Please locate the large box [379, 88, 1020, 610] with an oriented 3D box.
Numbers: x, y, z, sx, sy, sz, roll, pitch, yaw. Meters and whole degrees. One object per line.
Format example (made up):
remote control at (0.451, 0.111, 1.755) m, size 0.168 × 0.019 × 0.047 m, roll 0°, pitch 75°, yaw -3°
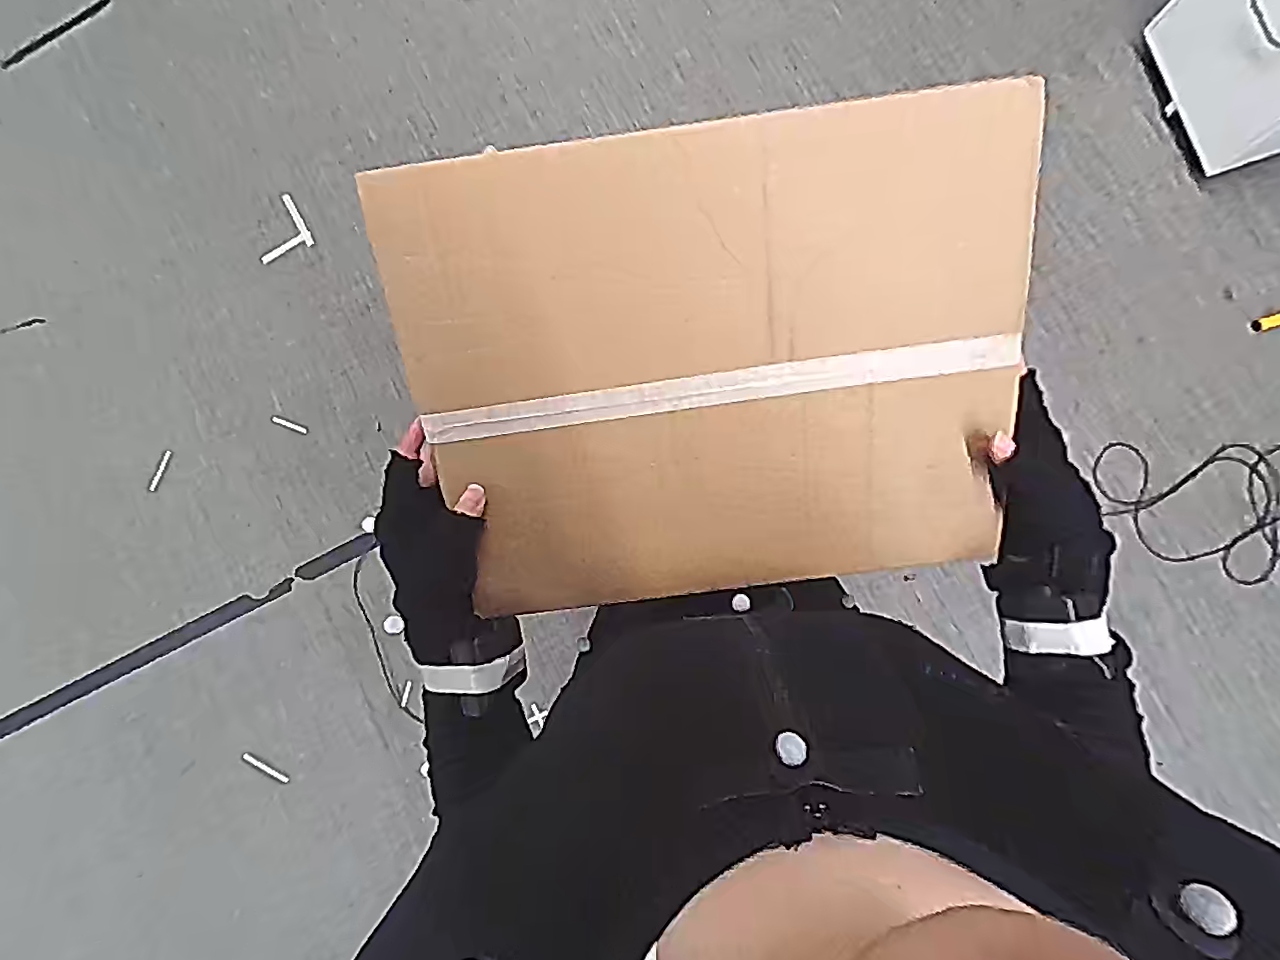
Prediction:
large box at (0.048, -0.113, 0.517) m, size 0.408 × 0.320 × 0.320 m, roll -7°, pitch 110°, yaw 1°
